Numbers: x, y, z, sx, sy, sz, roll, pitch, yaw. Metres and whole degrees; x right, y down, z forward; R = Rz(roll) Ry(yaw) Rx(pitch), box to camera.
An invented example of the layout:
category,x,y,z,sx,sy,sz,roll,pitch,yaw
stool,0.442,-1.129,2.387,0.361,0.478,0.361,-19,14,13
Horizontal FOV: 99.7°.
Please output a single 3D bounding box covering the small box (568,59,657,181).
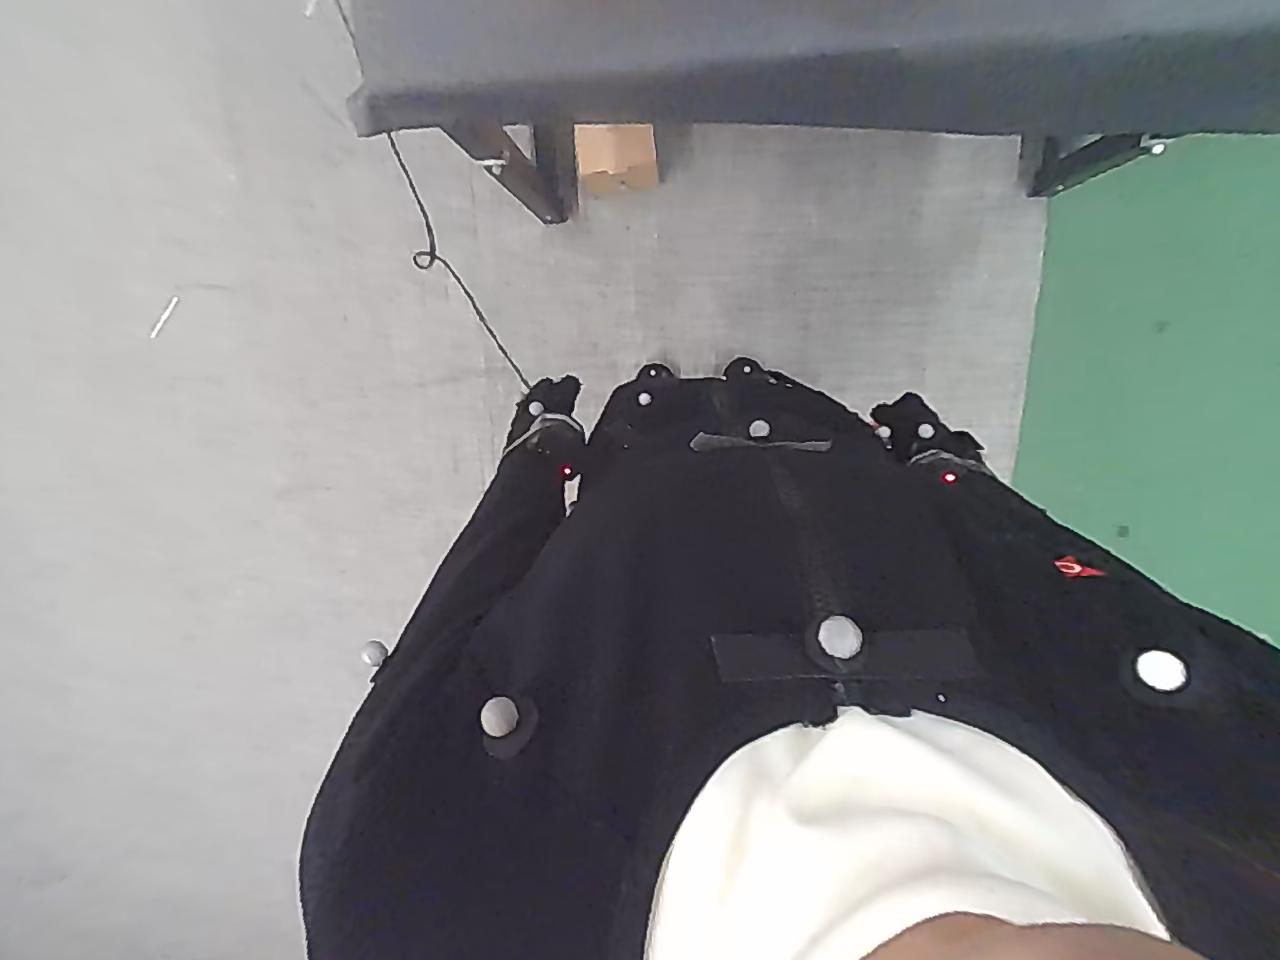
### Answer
category,x,y,z,sx,sy,sz,roll,pitch,yaw
small box,-0.053,-0.779,1.193,0.168,0.176,0.179,-5,104,5
